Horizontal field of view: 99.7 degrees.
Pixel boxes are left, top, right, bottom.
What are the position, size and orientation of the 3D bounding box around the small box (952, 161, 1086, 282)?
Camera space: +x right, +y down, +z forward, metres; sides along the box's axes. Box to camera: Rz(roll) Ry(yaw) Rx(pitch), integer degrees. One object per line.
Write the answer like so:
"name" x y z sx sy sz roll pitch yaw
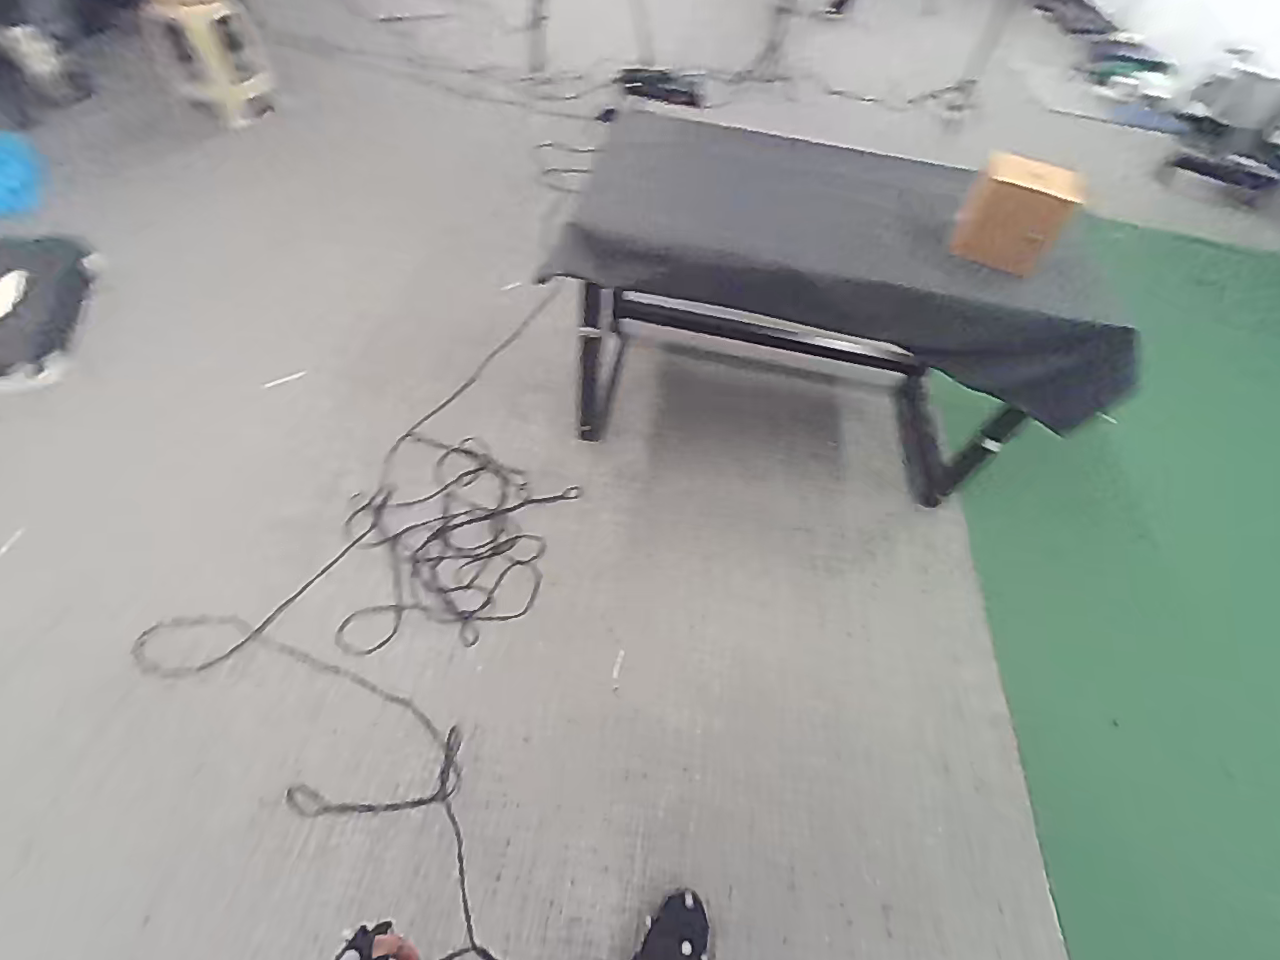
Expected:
"small box" 0.826 -0.563 1.190 0.179 0.176 0.168 22 53 10
